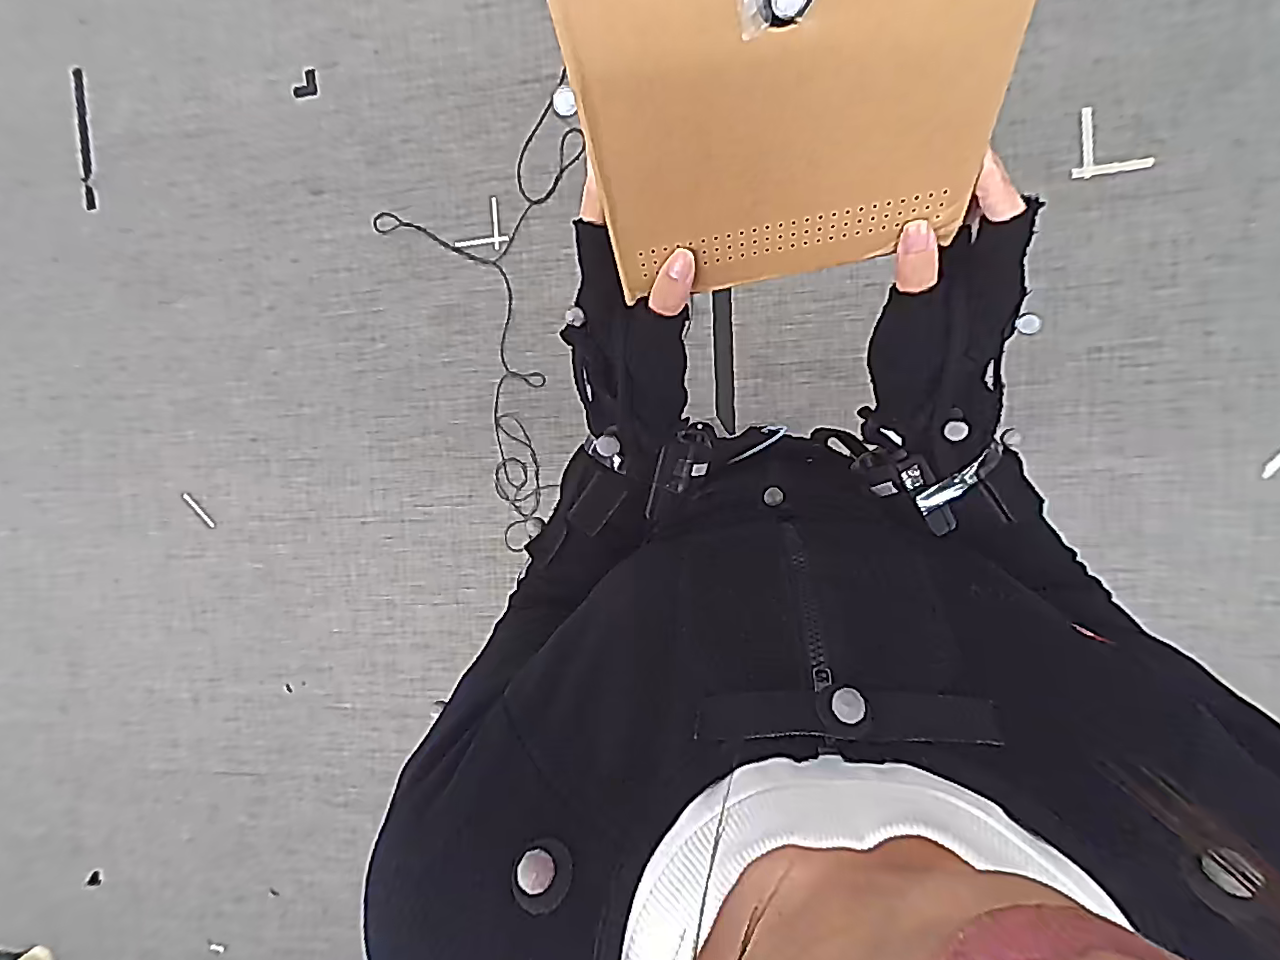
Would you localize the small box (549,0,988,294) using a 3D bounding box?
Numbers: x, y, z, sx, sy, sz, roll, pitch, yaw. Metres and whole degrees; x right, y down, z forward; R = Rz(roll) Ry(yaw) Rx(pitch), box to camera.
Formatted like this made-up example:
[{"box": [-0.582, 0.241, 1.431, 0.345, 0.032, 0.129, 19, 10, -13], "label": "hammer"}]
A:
[{"box": [0.060, -0.222, 0.285, 0.179, 0.176, 0.168, -8, 57, 8], "label": "small box"}]
